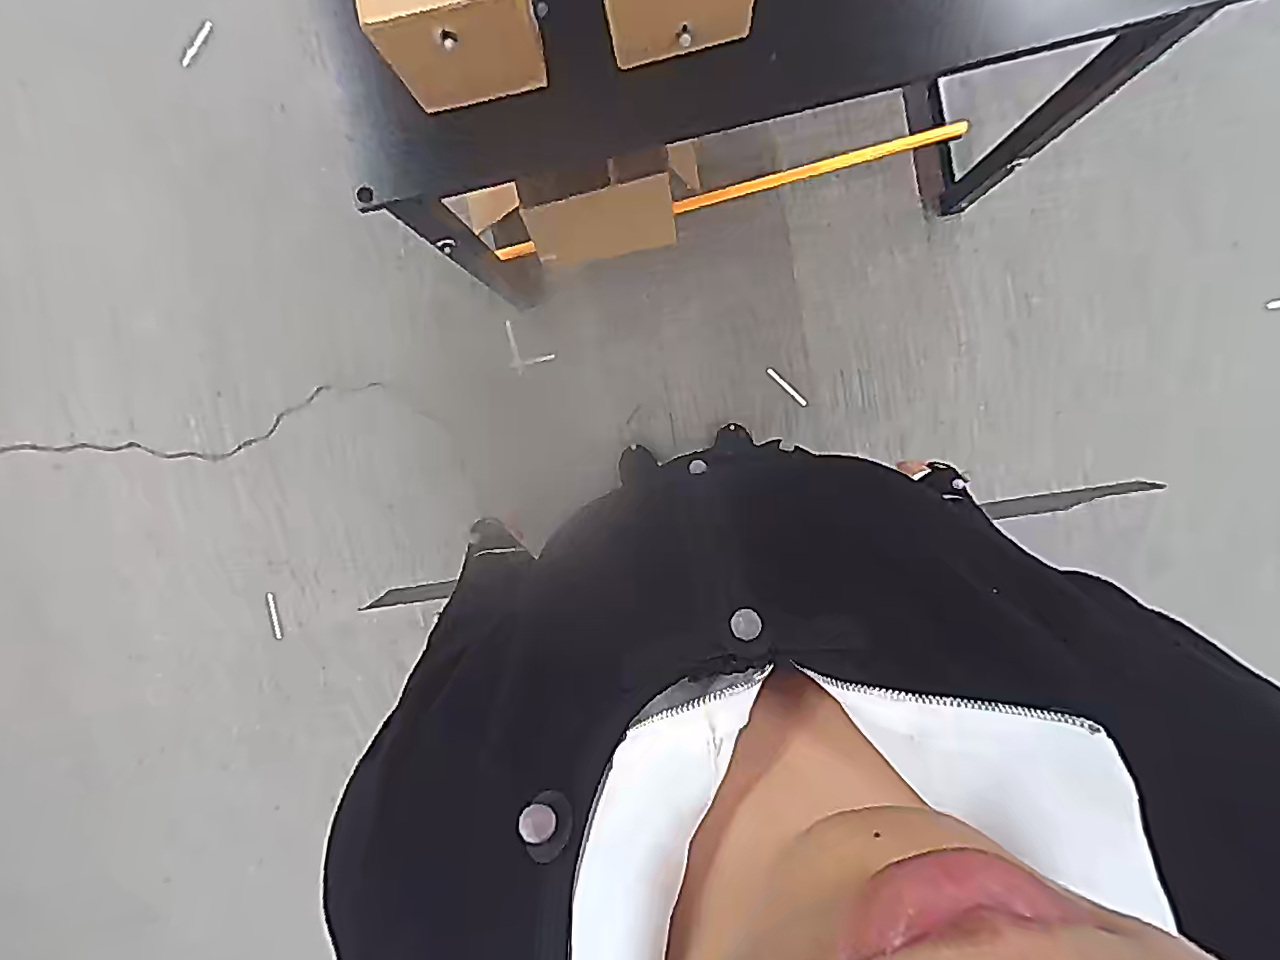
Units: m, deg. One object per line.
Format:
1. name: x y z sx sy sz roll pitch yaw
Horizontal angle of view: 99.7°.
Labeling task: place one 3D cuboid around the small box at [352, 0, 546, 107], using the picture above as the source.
1. small box: -0.227 -0.586 0.645 0.179 0.176 0.168 -10 95 4

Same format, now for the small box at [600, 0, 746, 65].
1. small box: 0.031 -0.632 0.624 0.179 0.176 0.168 -12 94 4
